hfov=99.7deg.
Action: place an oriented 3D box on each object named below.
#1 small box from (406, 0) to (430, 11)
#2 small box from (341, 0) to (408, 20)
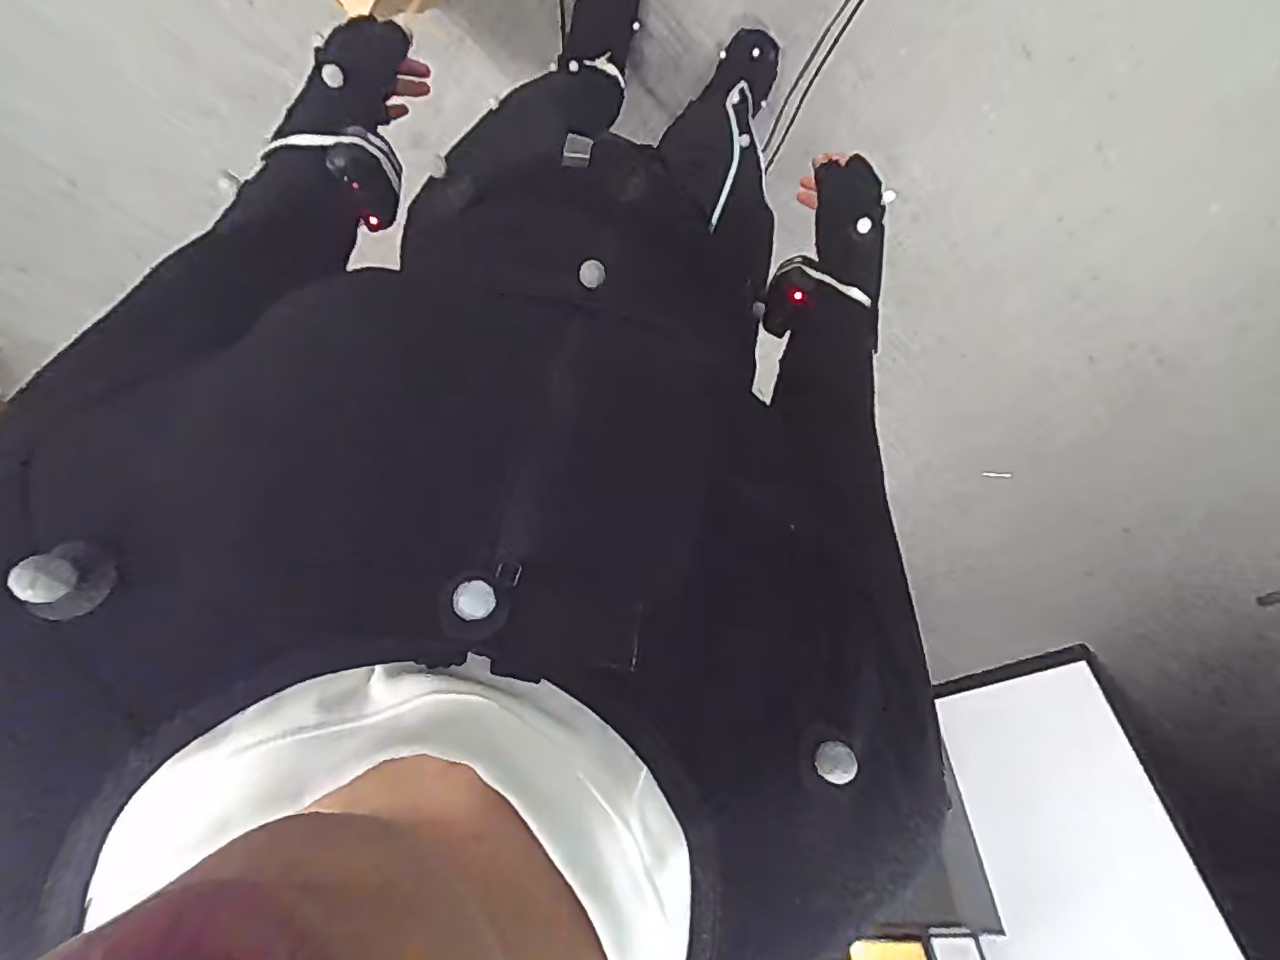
[{"bbox_3d":[-0.377,-0.920,0.870,0.179,0.176,0.168,35,129,-29],"label":"small box"},{"bbox_3d":[-0.391,-0.803,0.754,0.179,0.176,0.168,-33,125,33],"label":"small box"}]
